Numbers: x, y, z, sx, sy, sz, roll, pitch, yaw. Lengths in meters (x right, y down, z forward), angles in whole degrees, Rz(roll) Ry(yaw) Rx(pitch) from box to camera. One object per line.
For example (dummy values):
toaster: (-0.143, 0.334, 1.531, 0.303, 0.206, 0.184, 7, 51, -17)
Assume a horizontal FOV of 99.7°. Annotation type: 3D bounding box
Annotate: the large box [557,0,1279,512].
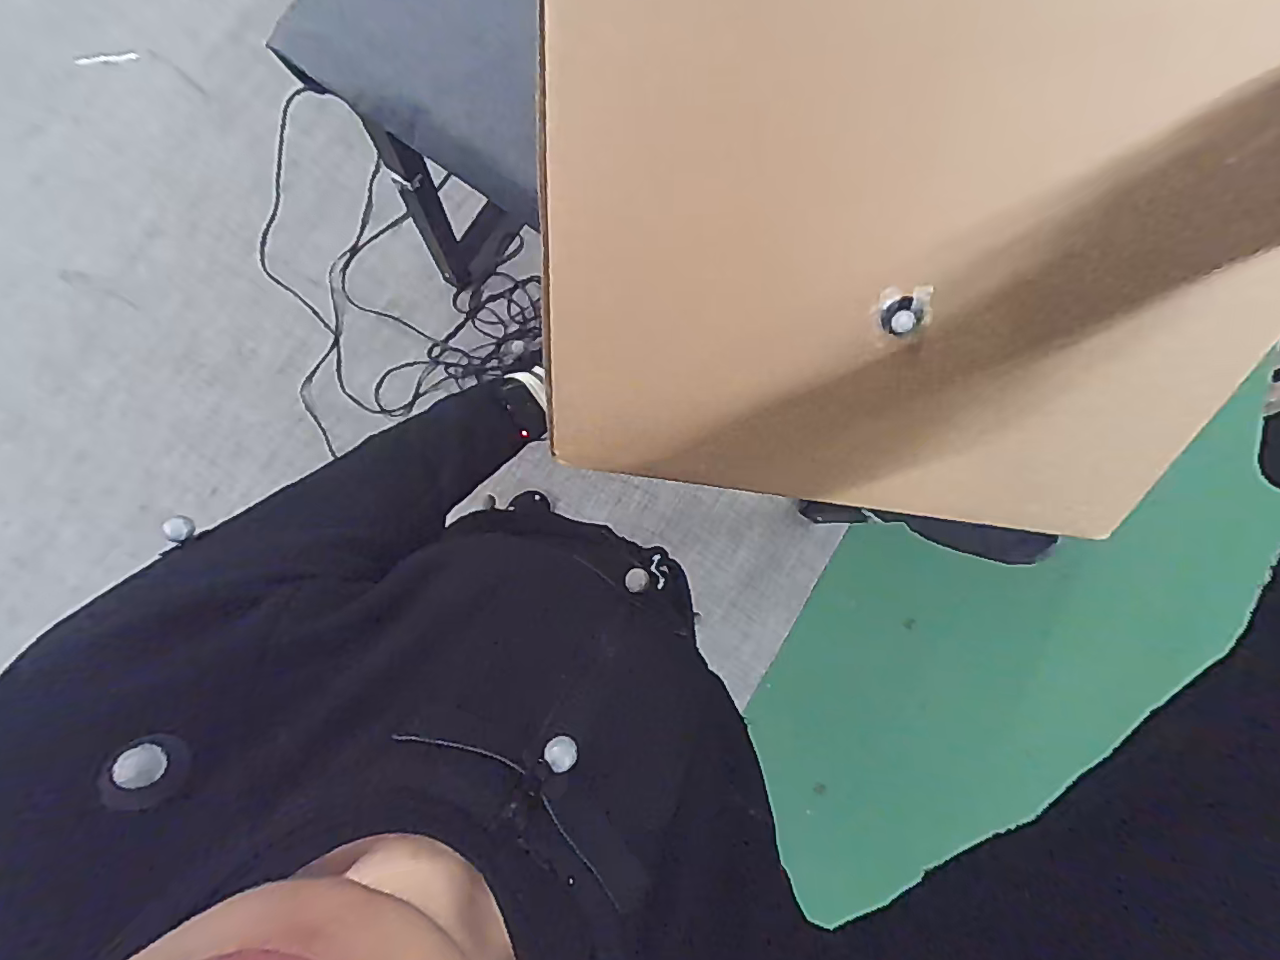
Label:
large box: (0.167, -0.198, 0.428, 0.408, 0.320, 0.320, 5, 128, 2)
